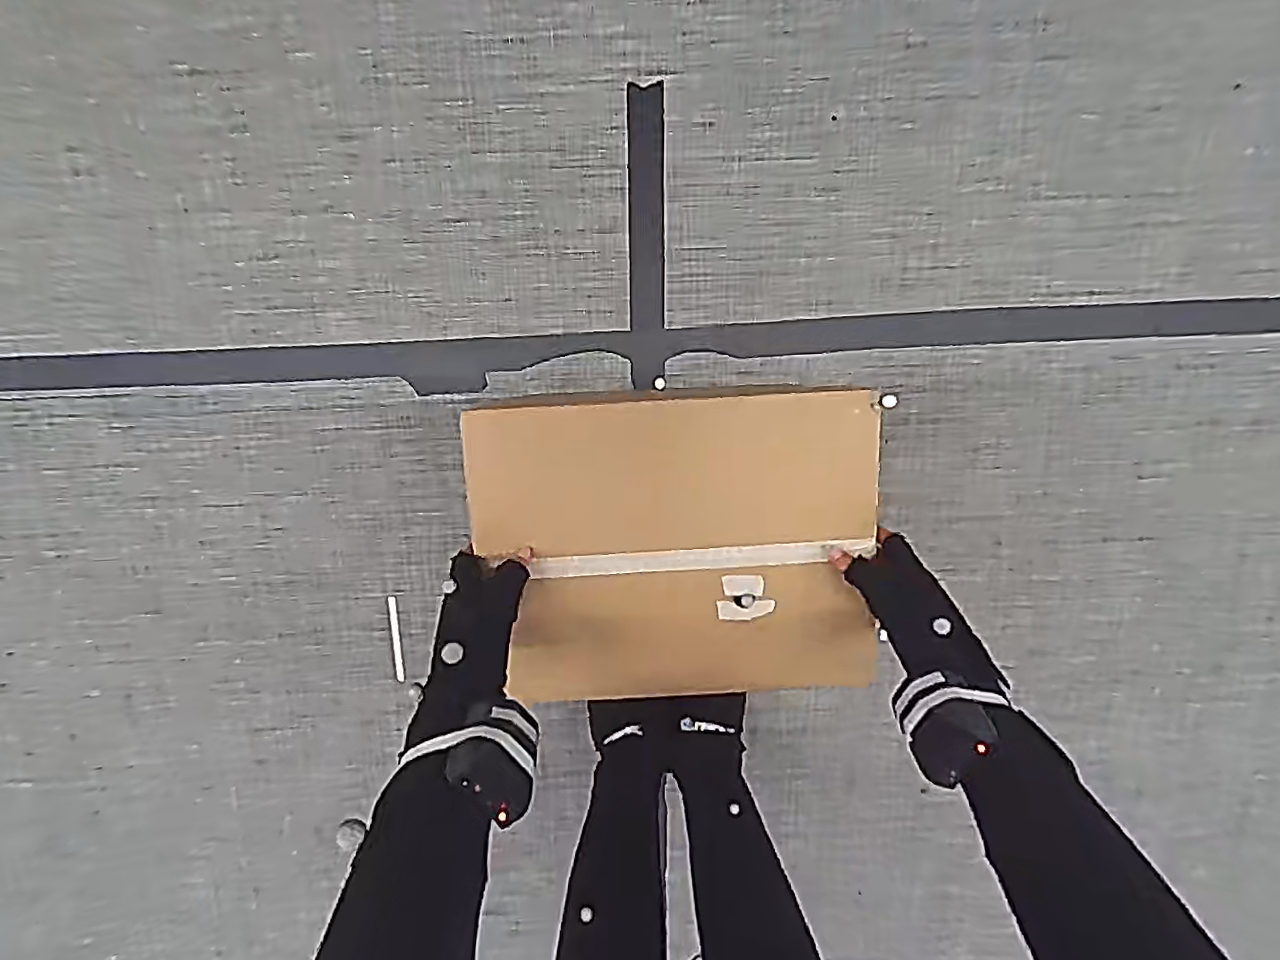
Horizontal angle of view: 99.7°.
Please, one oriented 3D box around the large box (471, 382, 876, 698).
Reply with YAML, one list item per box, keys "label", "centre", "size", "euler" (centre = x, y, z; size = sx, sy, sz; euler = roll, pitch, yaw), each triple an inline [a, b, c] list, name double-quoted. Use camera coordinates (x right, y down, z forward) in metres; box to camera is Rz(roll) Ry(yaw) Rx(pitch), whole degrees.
- label: "large box"
  centre: [0.038, 0.042, 0.698]
  size: [0.408, 0.320, 0.320]
  euler: [-4, 102, -1]
